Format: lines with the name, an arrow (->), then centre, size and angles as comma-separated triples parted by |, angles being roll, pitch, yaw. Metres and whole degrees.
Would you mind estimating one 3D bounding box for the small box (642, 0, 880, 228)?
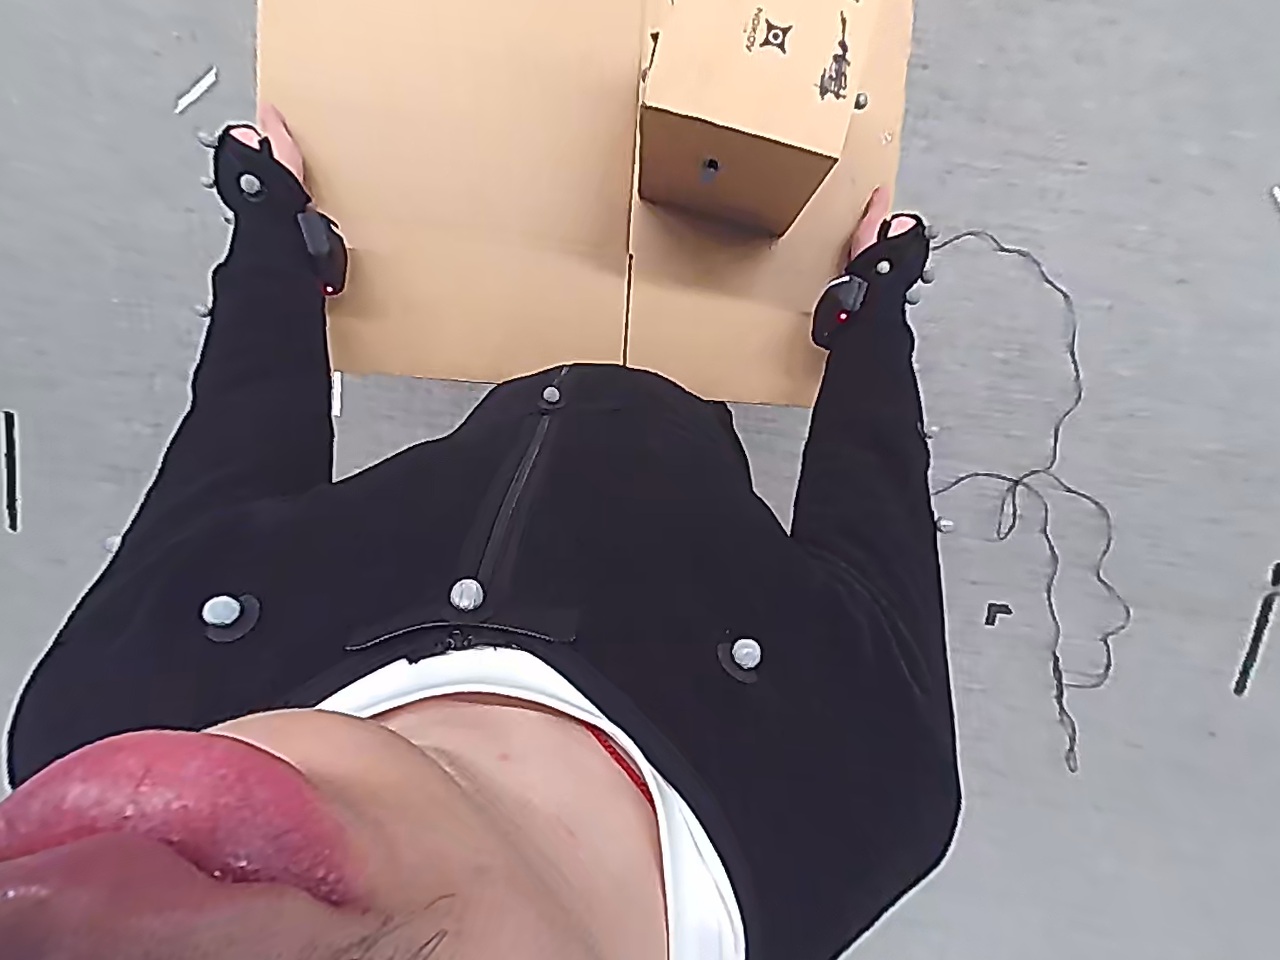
small box -> 0.105, -0.378, 0.536 | 0.179, 0.176, 0.168 | 15, 93, -1
